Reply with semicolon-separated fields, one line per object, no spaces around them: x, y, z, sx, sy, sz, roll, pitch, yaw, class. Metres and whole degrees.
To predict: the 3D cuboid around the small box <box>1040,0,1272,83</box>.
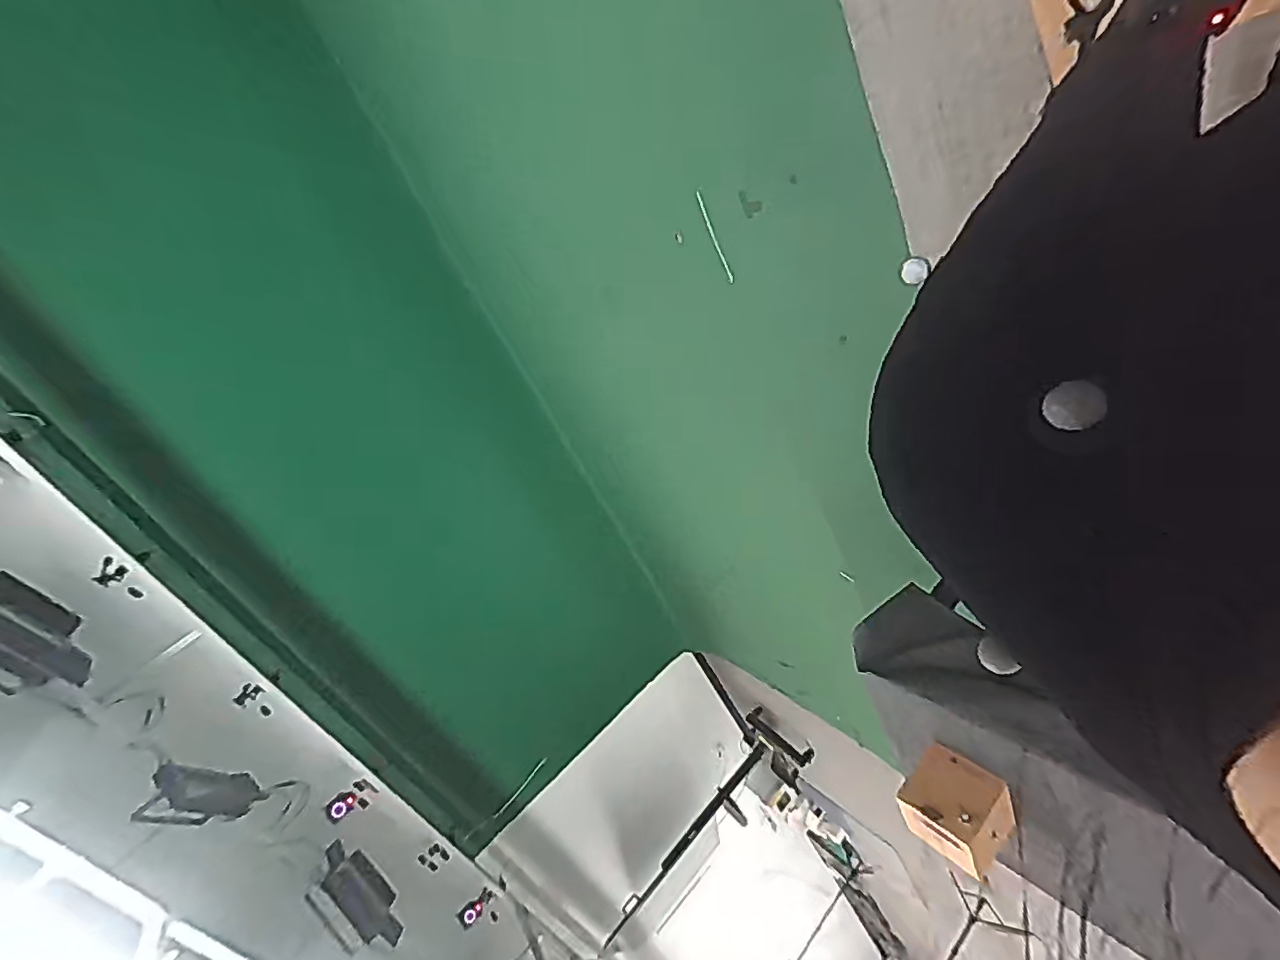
0.453;-0.511;0.472;0.168;0.176;0.179;-3;82;44;small box
